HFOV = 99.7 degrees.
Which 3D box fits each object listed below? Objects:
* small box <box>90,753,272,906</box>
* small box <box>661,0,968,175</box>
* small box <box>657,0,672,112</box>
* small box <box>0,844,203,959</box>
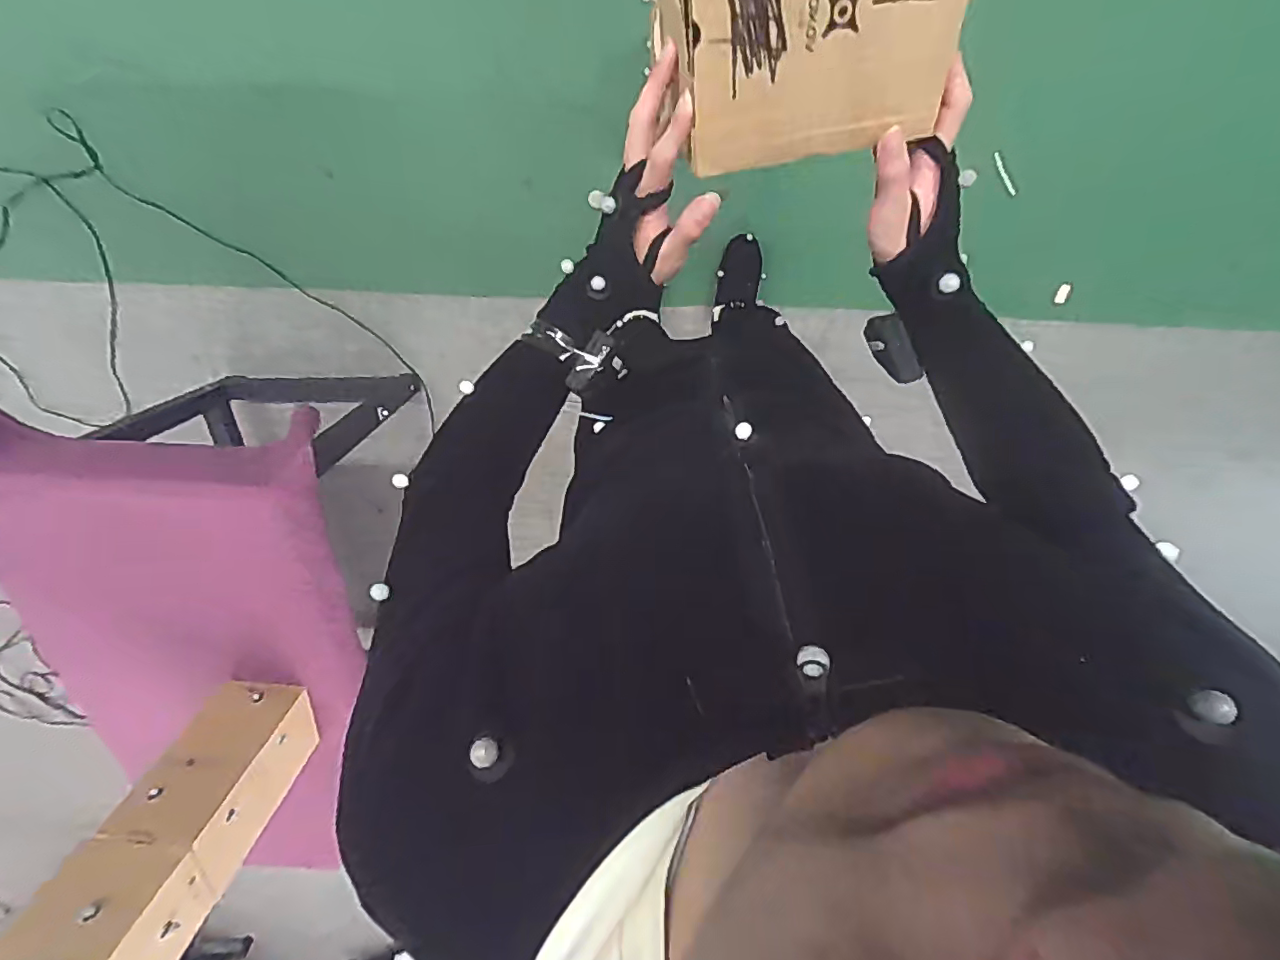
[{"bbox_3d":[-0.811,0.625,0.978,0.168,0.176,0.179,6,116,-1],"label":"small box"},{"bbox_3d":[0.105,-0.343,0.377,0.179,0.176,0.168,-9,141,1],"label":"small box"},{"bbox_3d":[0.122,-0.823,1.048,0.179,0.176,0.168,0,117,1],"label":"small box"},{"bbox_3d":[-0.822,0.695,0.831,0.179,0.176,0.168,6,115,-1],"label":"small box"}]
